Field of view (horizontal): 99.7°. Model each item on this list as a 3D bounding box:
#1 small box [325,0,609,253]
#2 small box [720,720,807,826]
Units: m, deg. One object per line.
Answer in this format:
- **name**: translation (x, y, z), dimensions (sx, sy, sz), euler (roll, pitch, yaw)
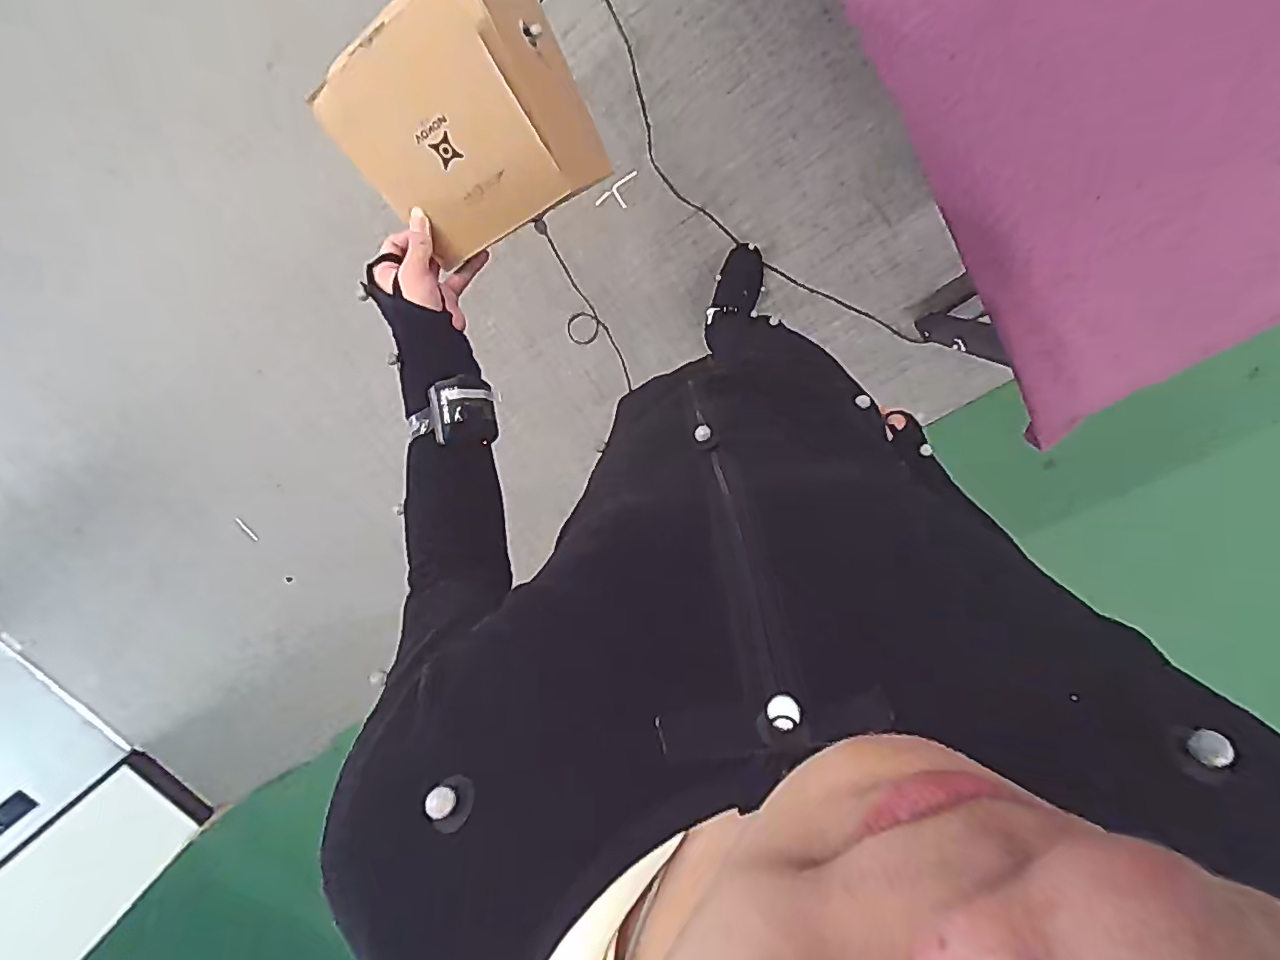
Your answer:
- **small box**: translation (-0.154, -0.361, 0.543), dimensions (0.168, 0.176, 0.179), euler (-16, 120, 25)
- **small box**: translation (0.345, 0.824, 1.530), dimensions (0.179, 0.176, 0.168), euler (-38, 102, 20)
